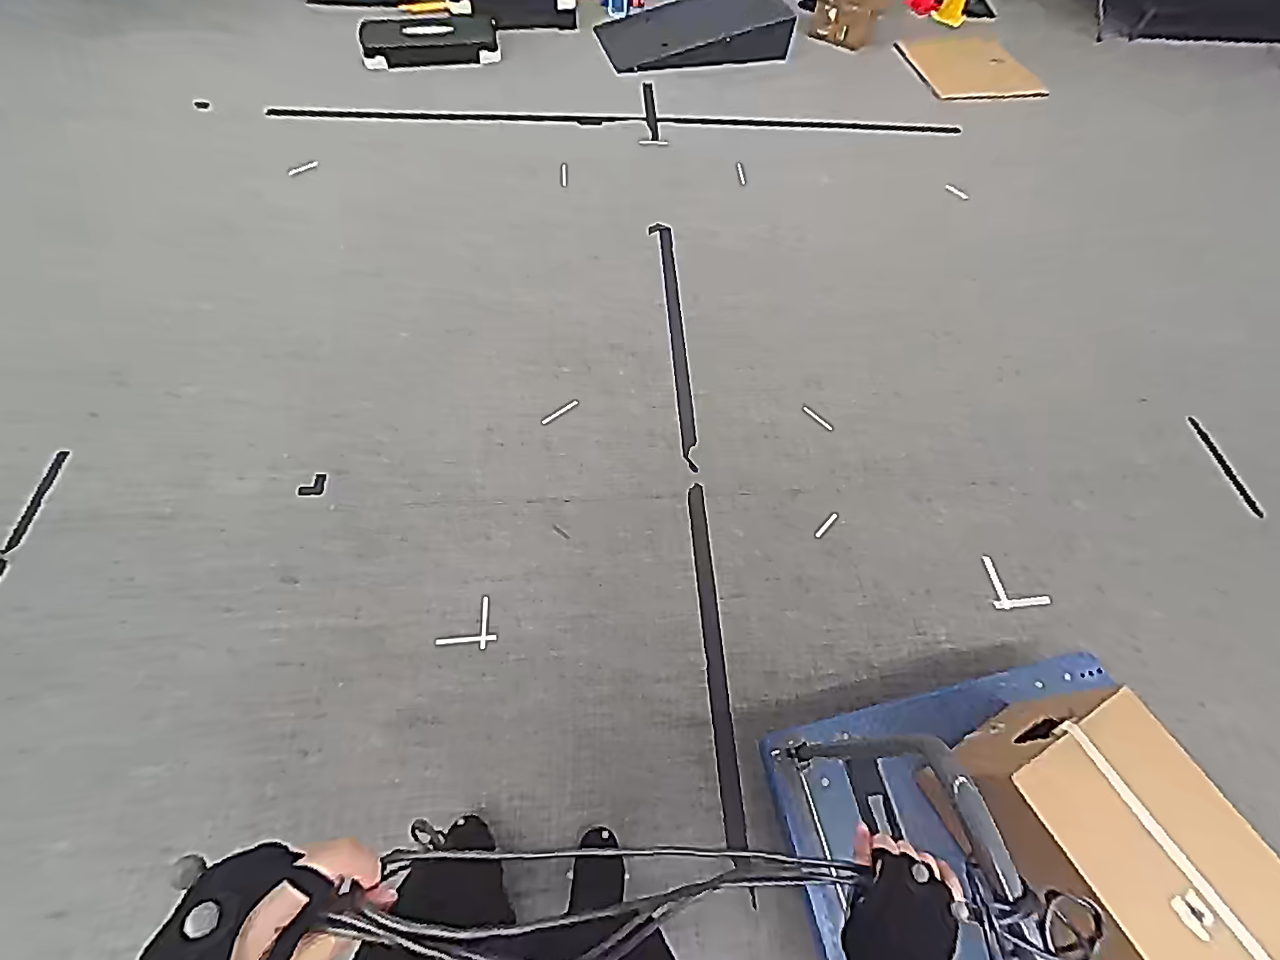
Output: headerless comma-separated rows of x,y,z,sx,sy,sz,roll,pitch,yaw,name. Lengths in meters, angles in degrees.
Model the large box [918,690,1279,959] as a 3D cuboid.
0.817,0.658,0.979,0.320,0.320,0.408,-24,66,-16,large box
